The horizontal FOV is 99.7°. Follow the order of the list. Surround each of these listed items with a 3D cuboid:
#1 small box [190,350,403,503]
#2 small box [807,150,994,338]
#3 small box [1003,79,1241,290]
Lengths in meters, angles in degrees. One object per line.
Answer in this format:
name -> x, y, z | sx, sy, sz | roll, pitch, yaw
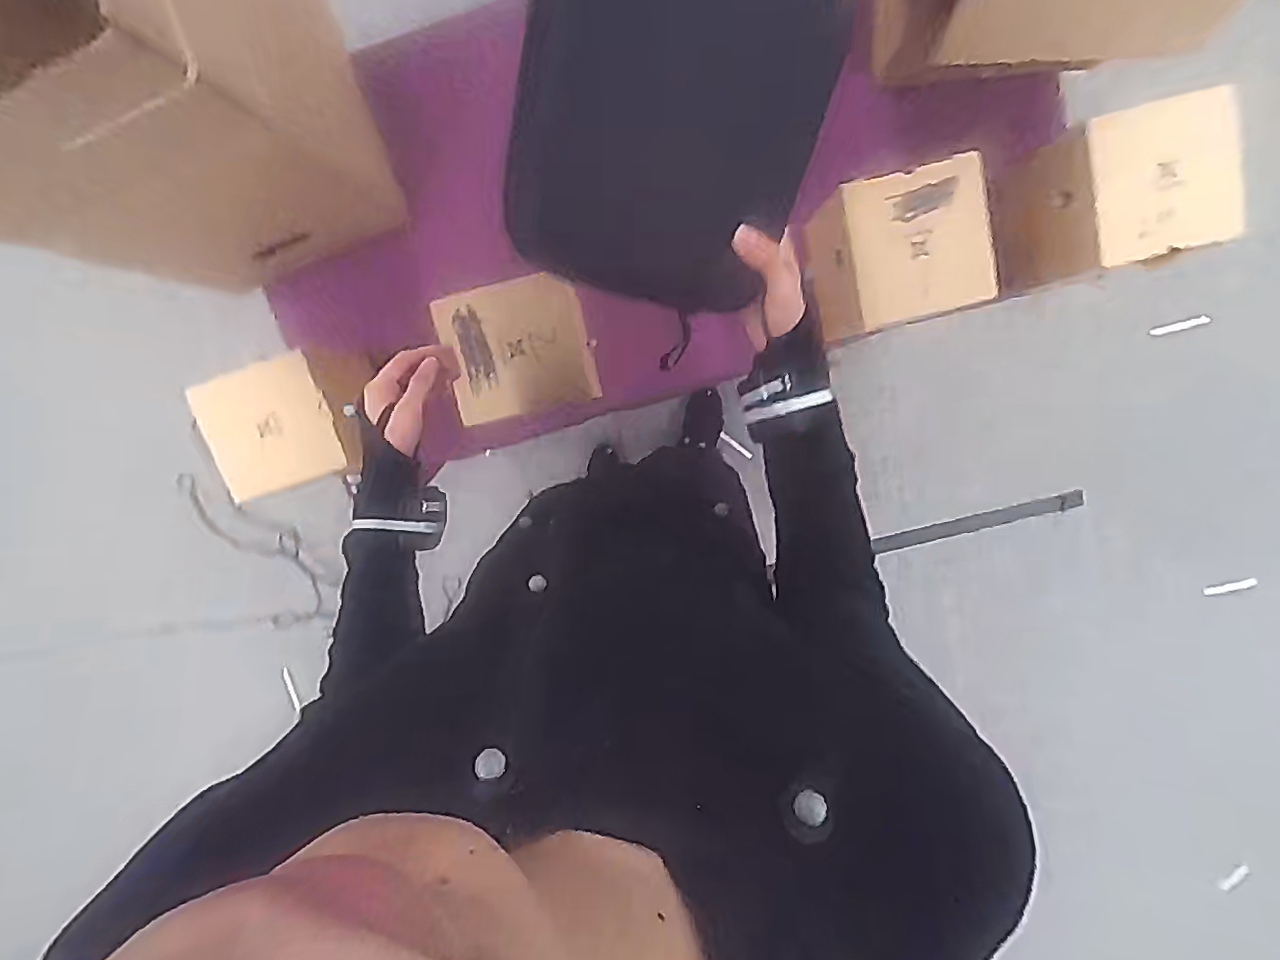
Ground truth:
small box -> -0.493, -0.079, 0.803 | 0.179, 0.176, 0.168 | -19, 97, 4
small box -> 0.340, -0.305, 0.736 | 0.168, 0.176, 0.179 | -13, 99, 4
small box -> 0.615, -0.371, 0.713 | 0.168, 0.176, 0.179 | -12, 98, 5
